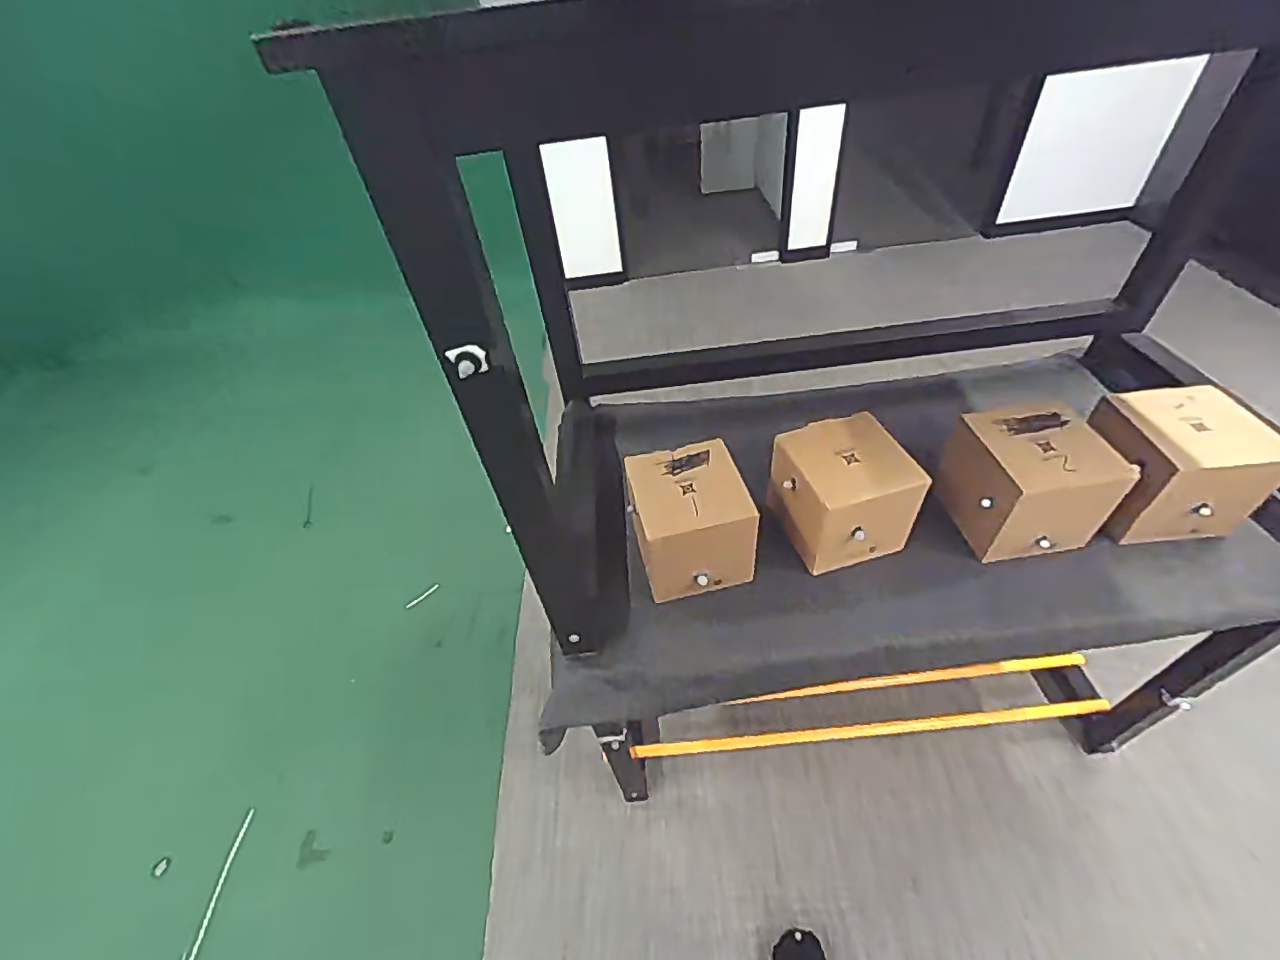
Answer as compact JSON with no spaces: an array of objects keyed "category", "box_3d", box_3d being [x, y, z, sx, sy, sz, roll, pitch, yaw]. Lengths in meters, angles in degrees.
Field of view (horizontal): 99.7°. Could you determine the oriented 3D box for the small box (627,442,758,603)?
[{"category":"small box","box_3d":[0.080,0.069,0.873,0.168,0.176,0.179,-13,46,-4]}]
